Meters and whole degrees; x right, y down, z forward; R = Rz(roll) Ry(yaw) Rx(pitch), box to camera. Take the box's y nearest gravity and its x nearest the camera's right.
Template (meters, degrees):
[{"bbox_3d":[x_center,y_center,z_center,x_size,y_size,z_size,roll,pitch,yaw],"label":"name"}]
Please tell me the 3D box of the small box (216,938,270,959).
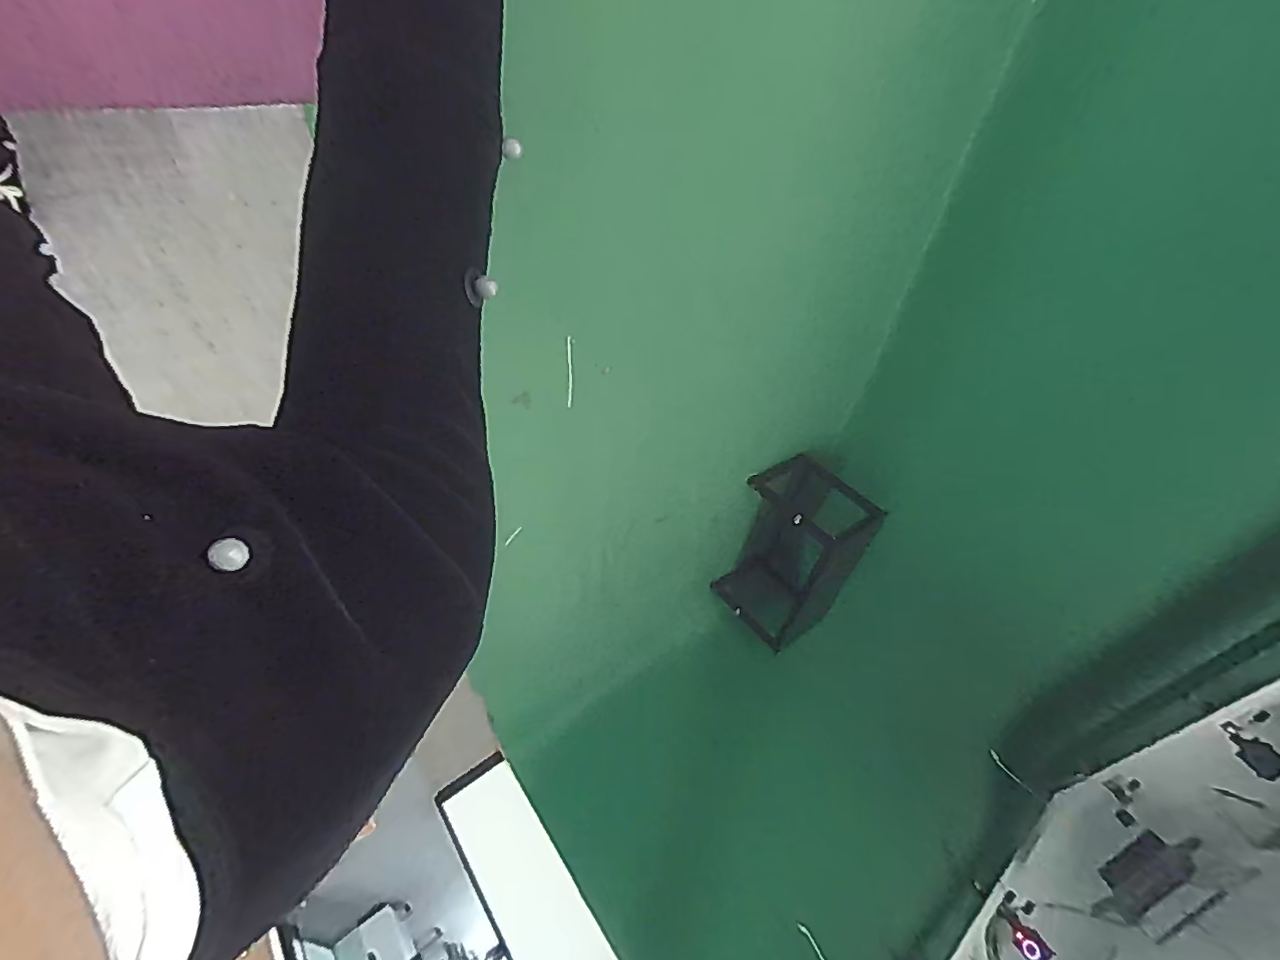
[{"bbox_3d":[-1.174,1.476,1.560,0.168,0.176,0.179,-23,142,-34],"label":"small box"}]
